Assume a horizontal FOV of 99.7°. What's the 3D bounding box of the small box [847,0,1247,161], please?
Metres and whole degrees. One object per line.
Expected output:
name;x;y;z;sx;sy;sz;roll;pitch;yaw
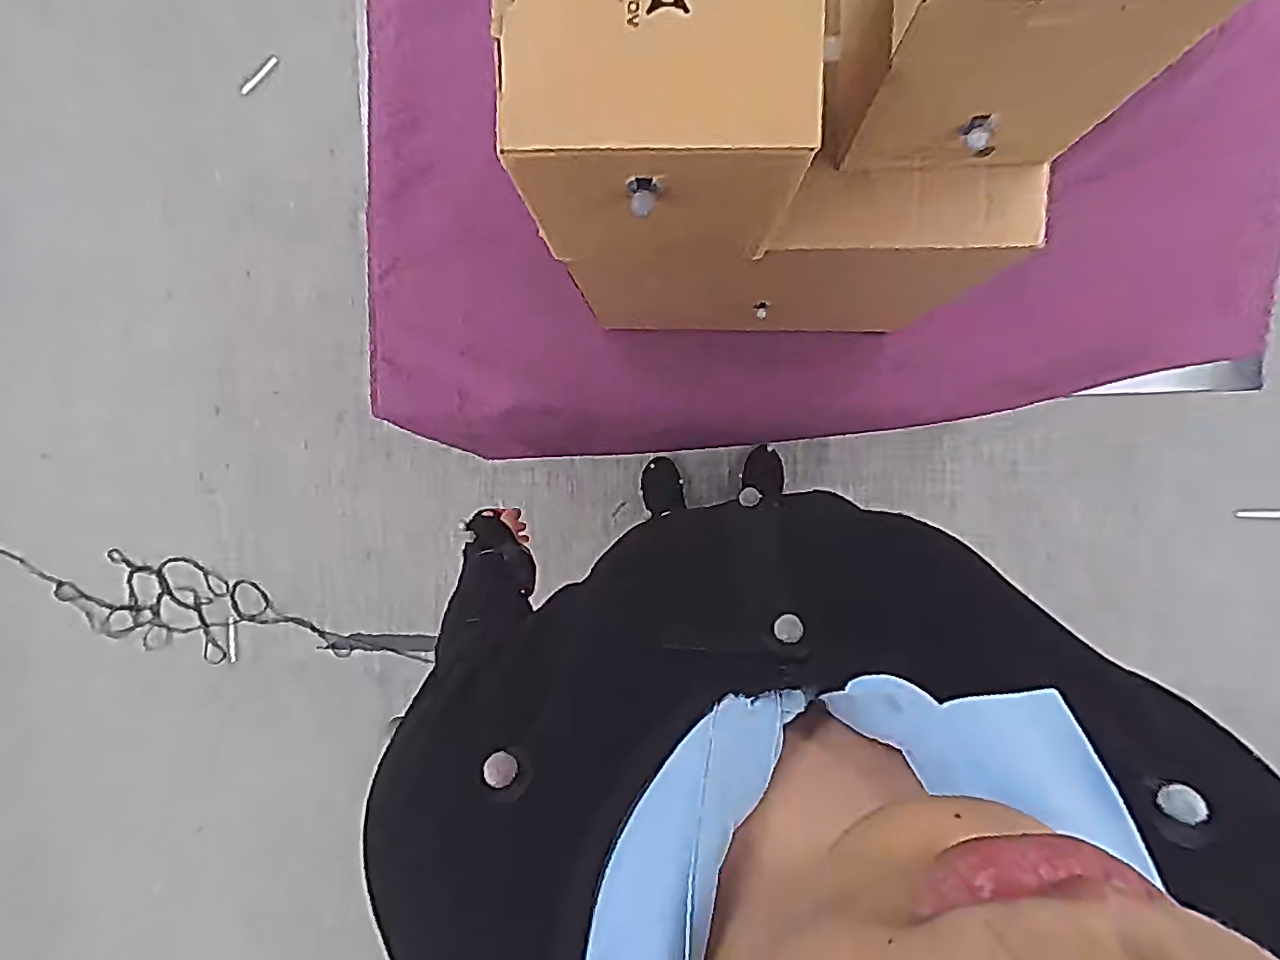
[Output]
small box;0.237;-0.334;0.338;0.168;0.176;0.179;1;92;5

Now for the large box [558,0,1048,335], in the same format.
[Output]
large box;0.142;-0.348;0.591;0.408;0.320;0.320;0;91;5
